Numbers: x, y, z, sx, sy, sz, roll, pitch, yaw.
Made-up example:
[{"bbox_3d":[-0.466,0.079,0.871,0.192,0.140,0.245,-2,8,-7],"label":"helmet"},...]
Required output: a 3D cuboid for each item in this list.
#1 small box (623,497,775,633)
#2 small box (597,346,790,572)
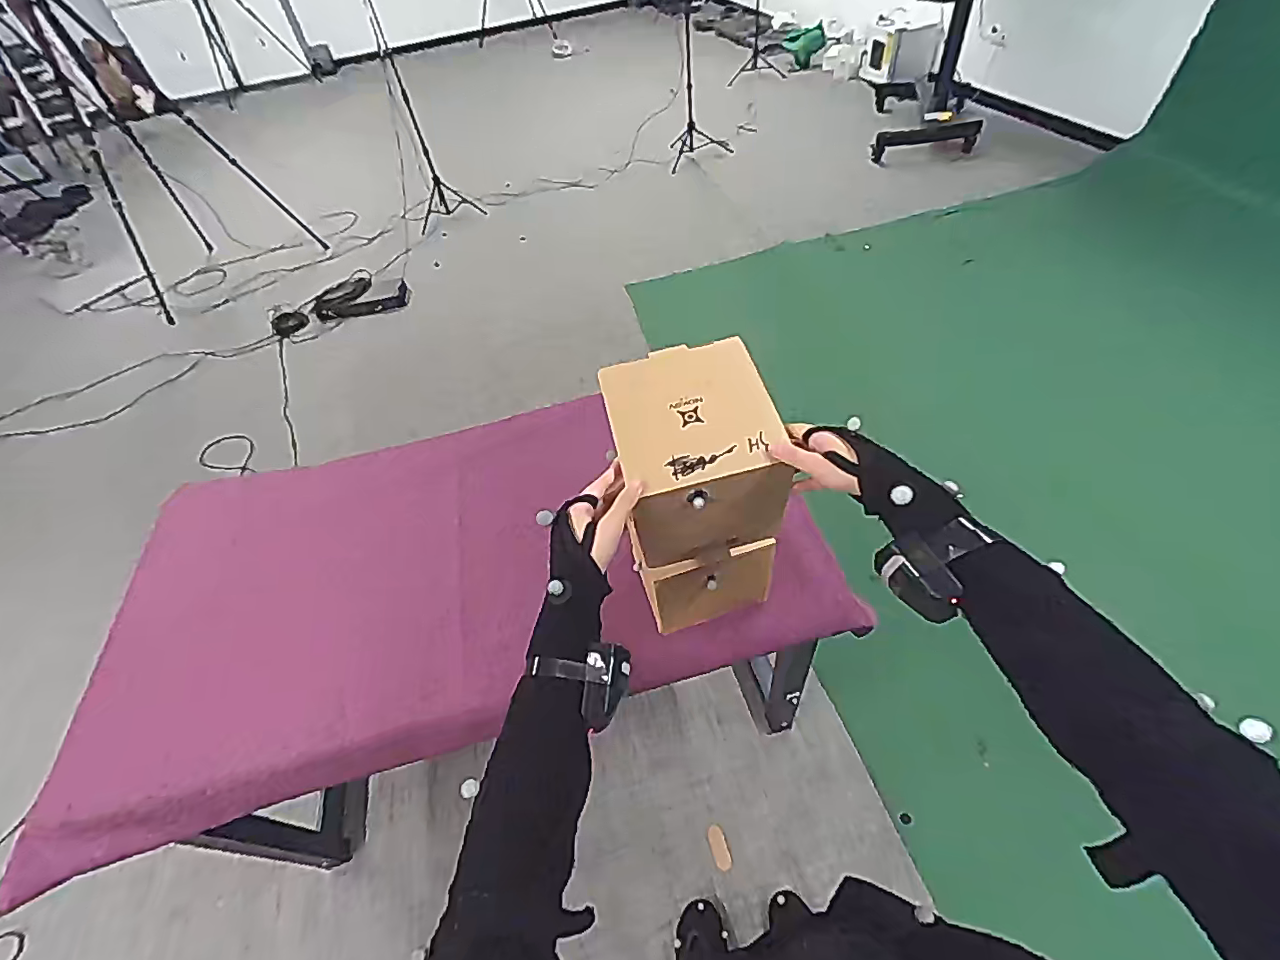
[{"bbox_3d":[0.088,0.106,0.822,0.179,0.176,0.168,-19,51,-4],"label":"small box"},{"bbox_3d":[0.057,-0.019,0.624,0.168,0.176,0.179,-15,56,0],"label":"small box"}]
